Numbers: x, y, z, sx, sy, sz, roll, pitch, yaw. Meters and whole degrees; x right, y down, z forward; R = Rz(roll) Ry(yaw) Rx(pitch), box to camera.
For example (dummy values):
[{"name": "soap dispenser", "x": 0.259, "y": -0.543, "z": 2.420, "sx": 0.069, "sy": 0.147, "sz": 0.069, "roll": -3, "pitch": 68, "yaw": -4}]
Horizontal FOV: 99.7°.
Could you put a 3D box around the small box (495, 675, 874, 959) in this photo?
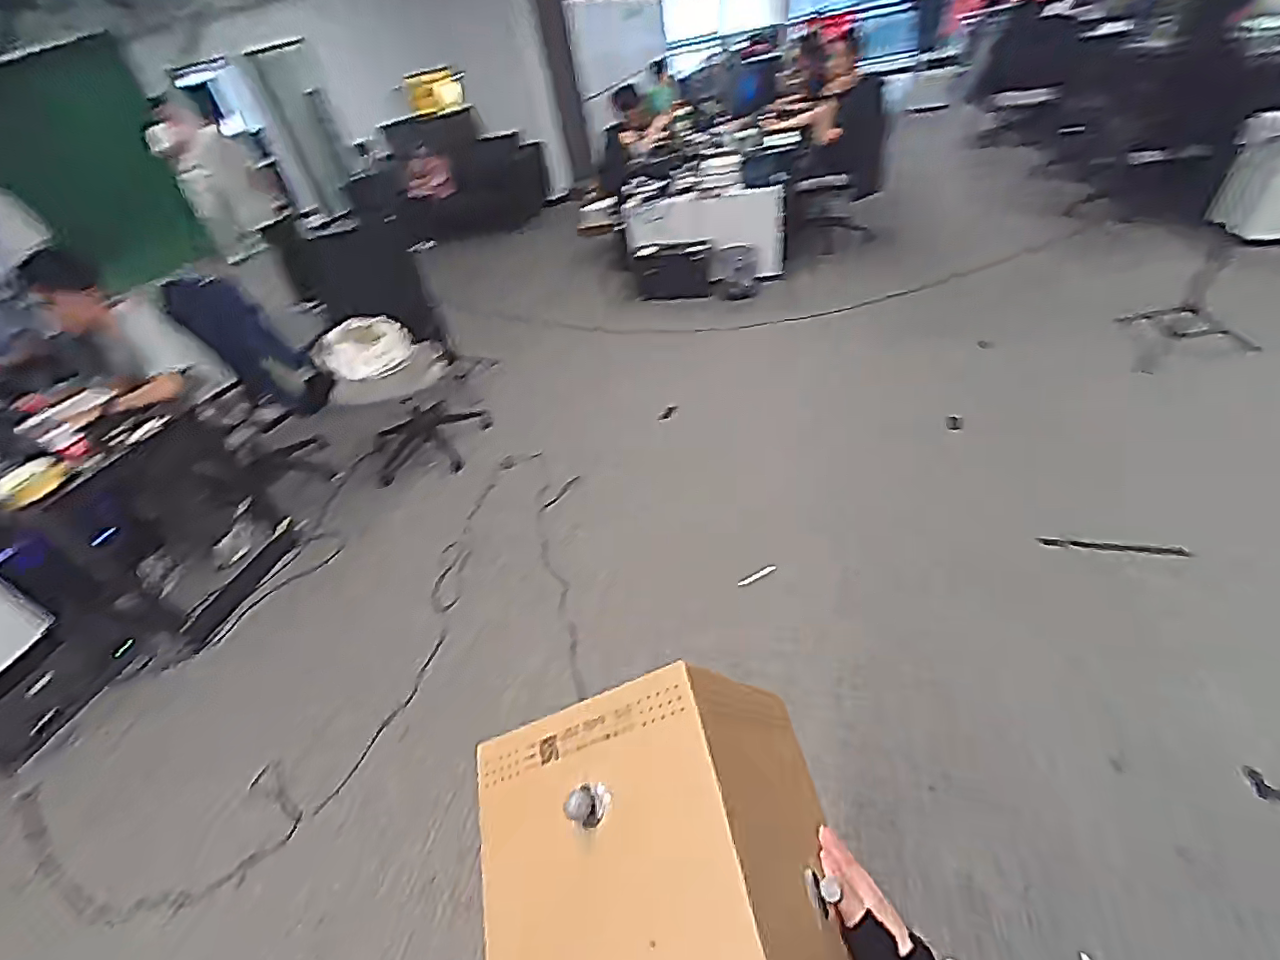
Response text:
[{"name": "small box", "x": 0.026, "y": 0.242, "z": 0.356, "sx": 0.168, "sy": 0.179, "sz": 0.176, "roll": -29, "pitch": 52, "yaw": 19}]
